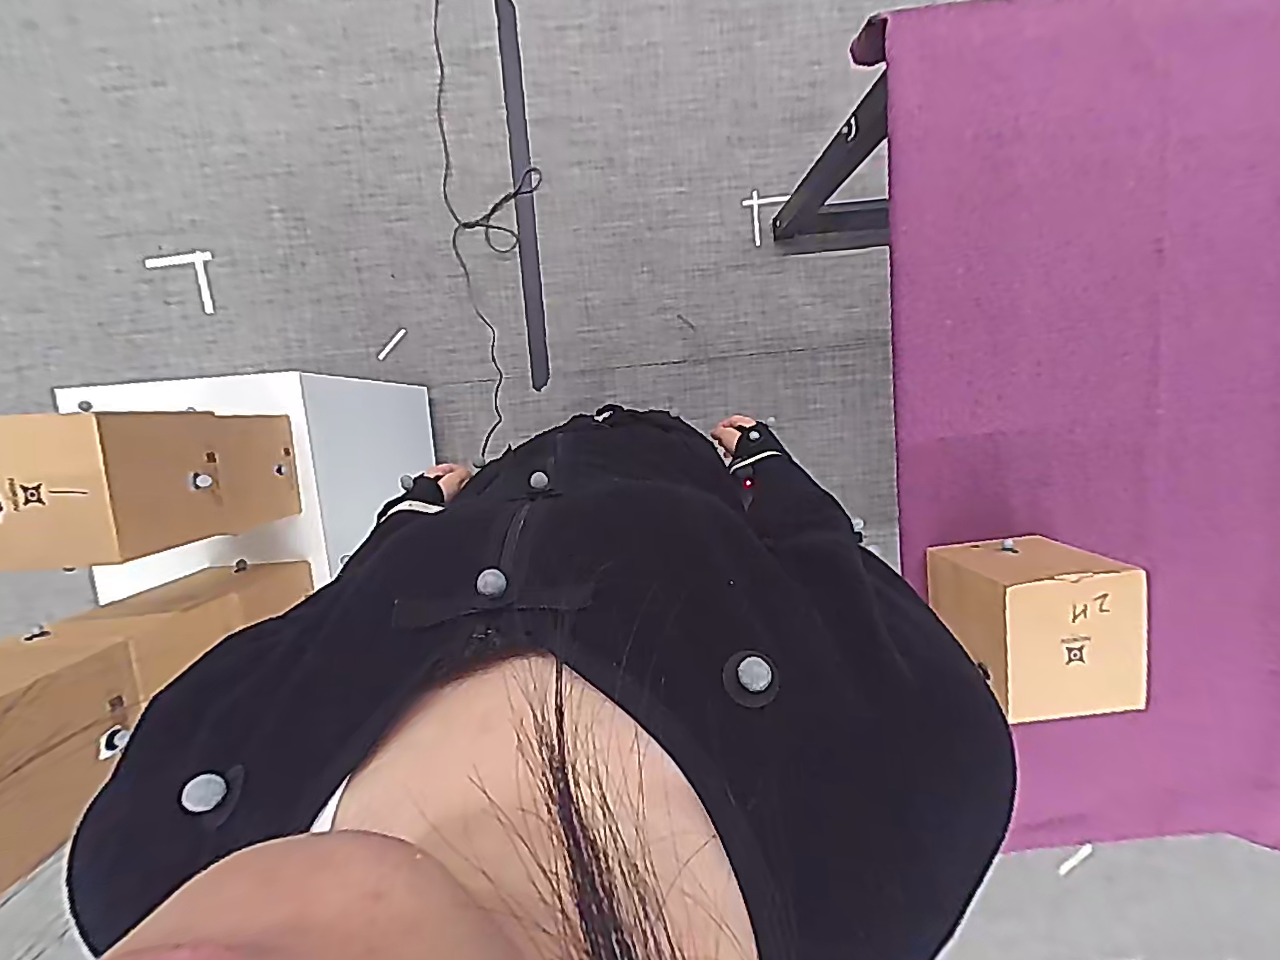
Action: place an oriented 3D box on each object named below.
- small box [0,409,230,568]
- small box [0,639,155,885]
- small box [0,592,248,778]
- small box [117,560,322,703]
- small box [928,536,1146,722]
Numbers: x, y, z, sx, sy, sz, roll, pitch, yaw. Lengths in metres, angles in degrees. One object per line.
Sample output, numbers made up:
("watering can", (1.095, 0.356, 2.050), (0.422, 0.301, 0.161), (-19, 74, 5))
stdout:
("small box", (-0.640, 0.002, 0.641), (0.179, 0.176, 0.168), (-3, 98, -2))
("small box", (-0.630, 0.267, 0.514), (0.179, 0.176, 0.168), (-6, 98, 0))
("small box", (-0.630, 0.248, 0.675), (0.179, 0.176, 0.168), (-5, 97, 0))
("small box", (-0.634, 0.228, 0.836), (0.179, 0.176, 0.168), (-4, 98, 1))
("small box", (0.503, 0.184, 0.709), (0.168, 0.176, 0.179), (-6, 97, -1))
